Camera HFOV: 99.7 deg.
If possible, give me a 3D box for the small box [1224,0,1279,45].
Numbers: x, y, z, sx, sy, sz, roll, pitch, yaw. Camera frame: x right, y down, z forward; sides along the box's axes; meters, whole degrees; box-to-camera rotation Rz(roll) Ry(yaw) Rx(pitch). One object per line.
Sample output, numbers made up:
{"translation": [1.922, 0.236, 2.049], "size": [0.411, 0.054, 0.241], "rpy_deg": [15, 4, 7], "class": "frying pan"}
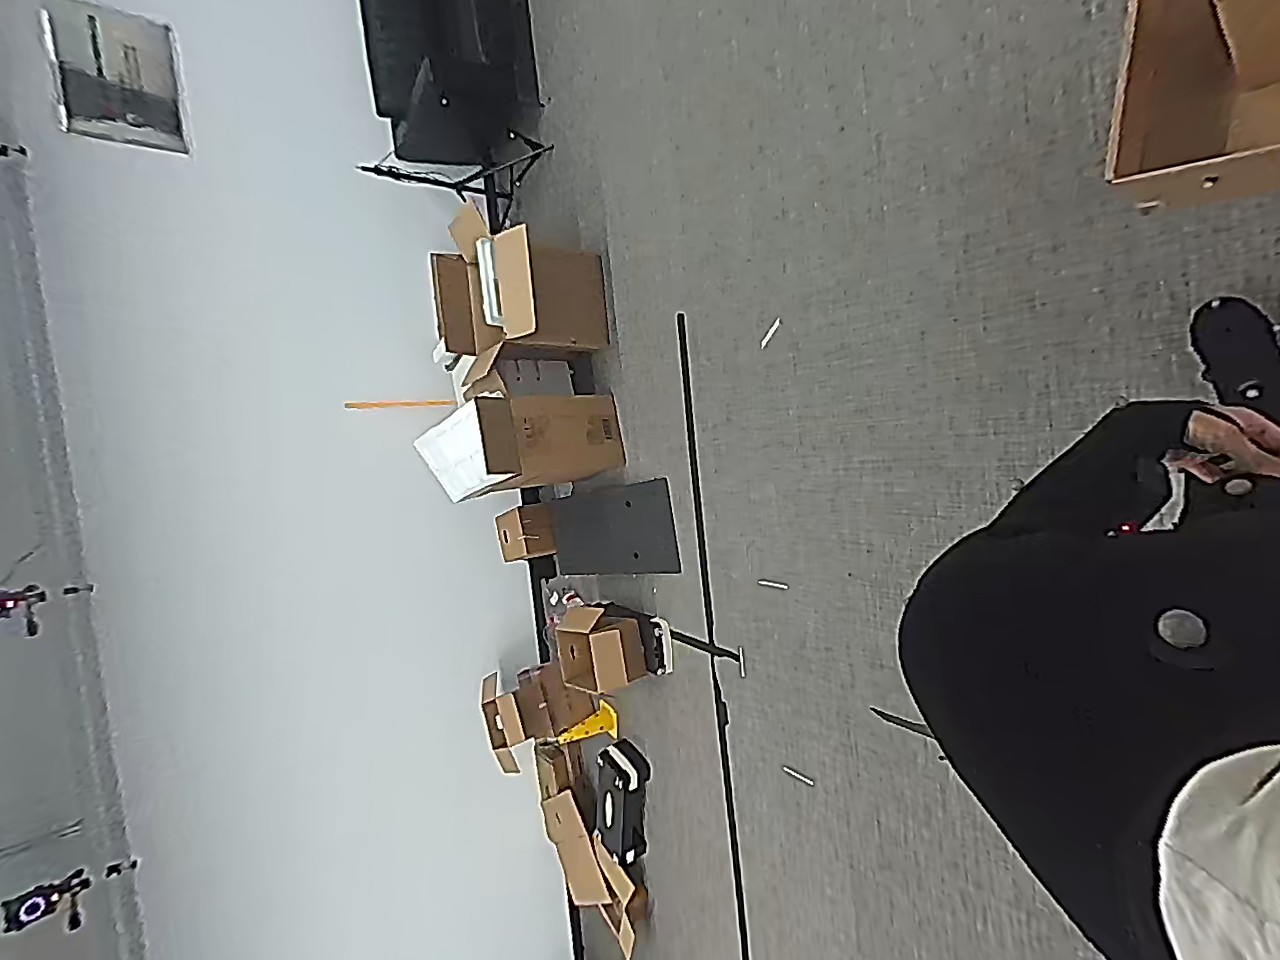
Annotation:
{"translation": [0.756, -0.628, 0.579], "size": [0.168, 0.176, 0.179], "rpy_deg": [9, 103, 52], "class": "small box"}
